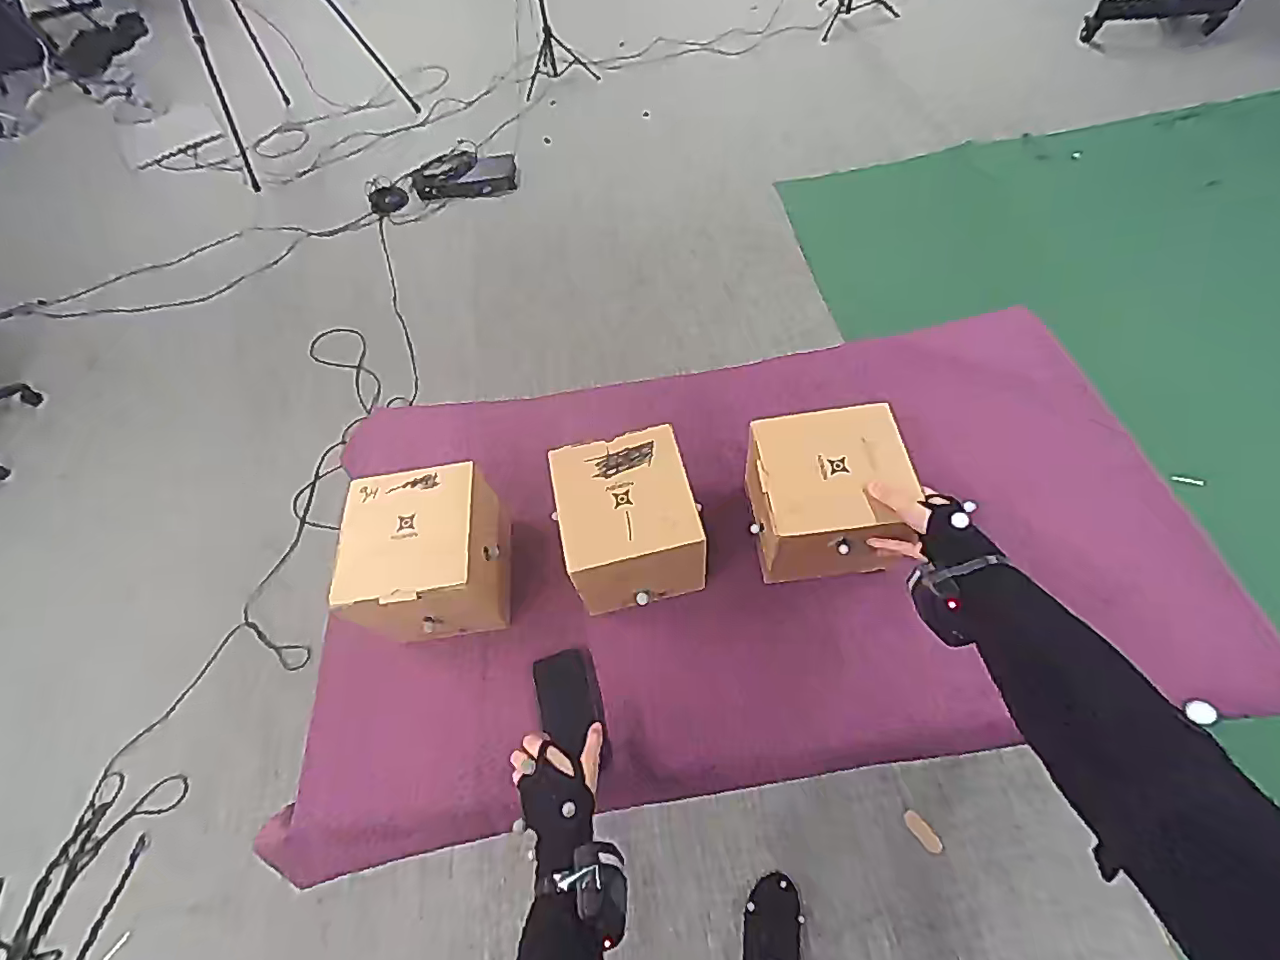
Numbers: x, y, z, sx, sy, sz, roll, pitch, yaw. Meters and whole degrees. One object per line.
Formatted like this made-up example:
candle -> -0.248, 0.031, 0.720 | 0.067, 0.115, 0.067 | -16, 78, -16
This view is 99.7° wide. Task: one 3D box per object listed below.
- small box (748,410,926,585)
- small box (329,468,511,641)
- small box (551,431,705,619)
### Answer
small box -> 0.241, 0.031, 0.716 | 0.179, 0.176, 0.168 | -7, 59, 4
small box -> -0.279, 0.109, 0.730 | 0.168, 0.176, 0.179 | -9, 58, 1
small box -> -0.015, 0.065, 0.727 | 0.168, 0.176, 0.179 | -13, 58, -1
